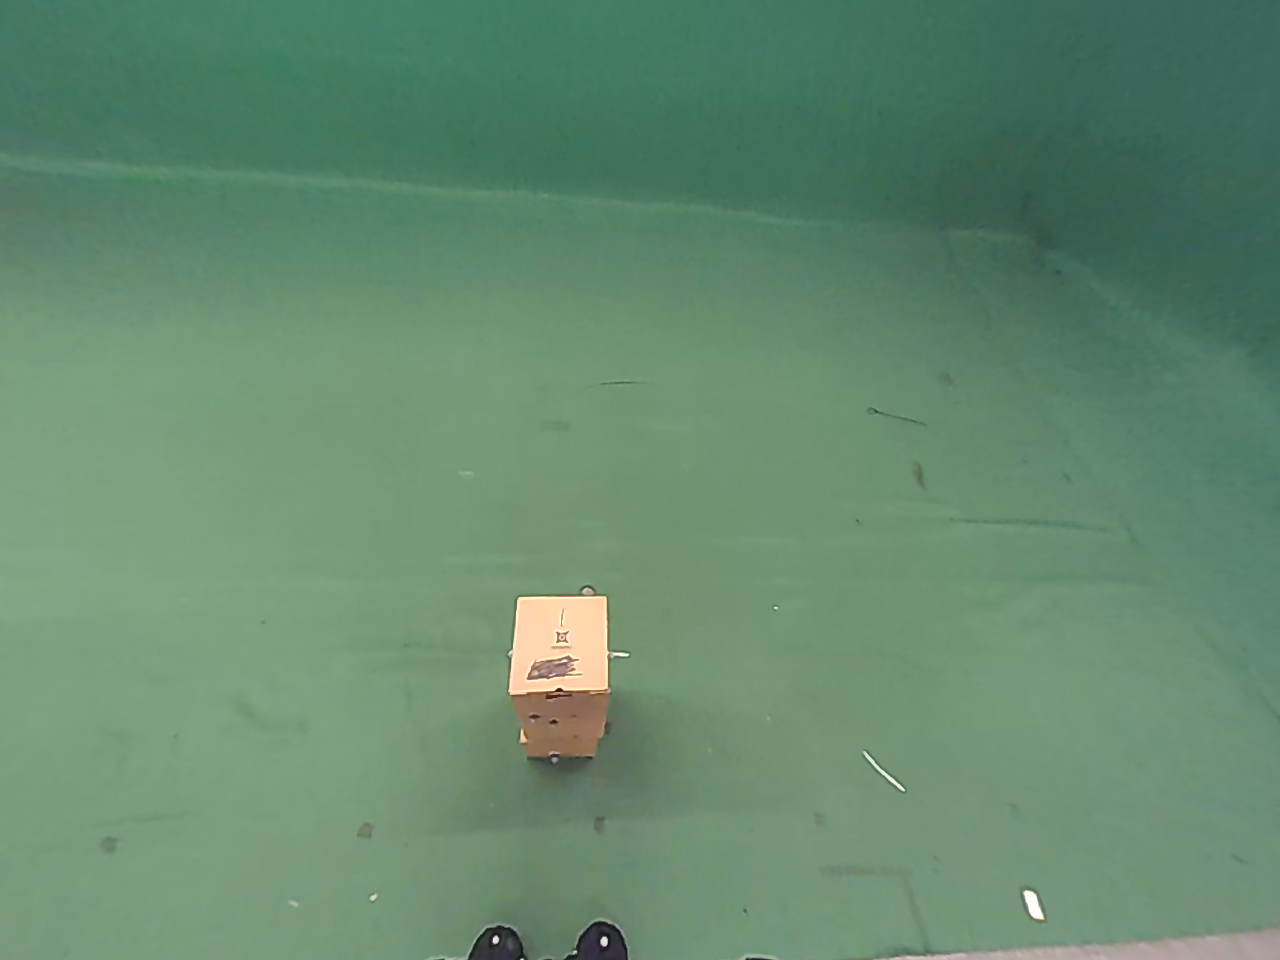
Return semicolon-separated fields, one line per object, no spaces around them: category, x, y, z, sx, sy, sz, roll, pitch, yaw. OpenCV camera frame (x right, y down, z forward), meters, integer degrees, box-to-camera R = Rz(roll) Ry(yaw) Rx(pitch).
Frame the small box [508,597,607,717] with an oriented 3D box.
small box;-0.146;0.334;1.007;0.168;0.176;0.179;1;51;-6

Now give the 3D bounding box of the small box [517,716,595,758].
small box;-0.182;0.526;1.247;0.168;0.176;0.179;2;53;-3

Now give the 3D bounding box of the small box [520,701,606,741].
small box;-0.158;0.433;1.137;0.168;0.176;0.179;1;51;-6
